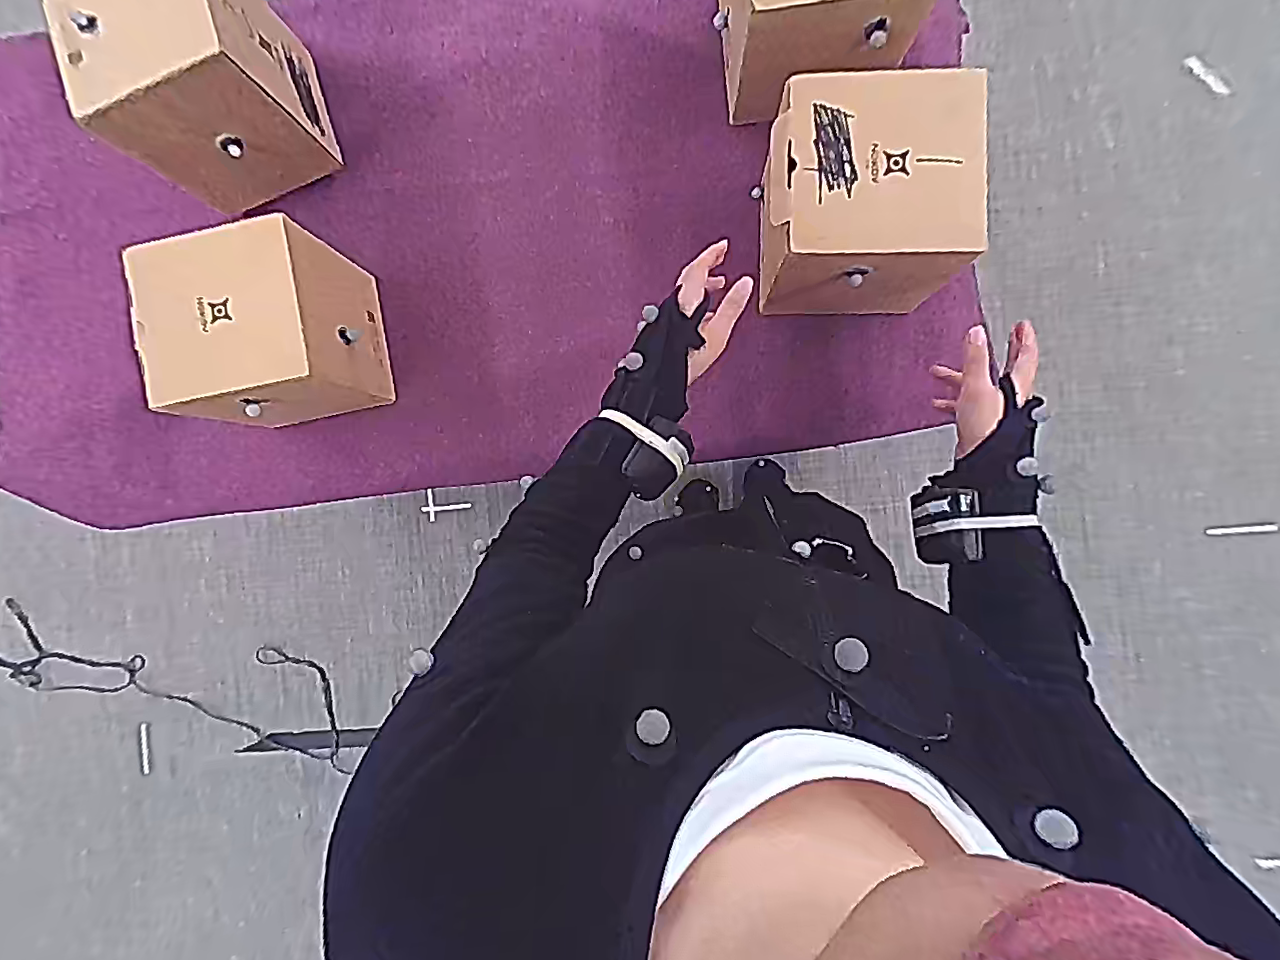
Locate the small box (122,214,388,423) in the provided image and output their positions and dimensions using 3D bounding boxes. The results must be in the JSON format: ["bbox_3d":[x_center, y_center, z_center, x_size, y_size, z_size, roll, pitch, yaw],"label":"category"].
[{"bbox_3d":[-0.409,-0.165,0.608,0.179,0.176,0.168,-11,89,4],"label":"small box"}]

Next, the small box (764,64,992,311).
[{"bbox_3d":[0.226,-0.282,0.558,0.179,0.176,0.168,0,88,3],"label":"small box"}]

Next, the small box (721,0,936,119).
[{"bbox_3d":[0.183,-0.514,0.560,0.179,0.176,0.168,-5,91,4],"label":"small box"}]
